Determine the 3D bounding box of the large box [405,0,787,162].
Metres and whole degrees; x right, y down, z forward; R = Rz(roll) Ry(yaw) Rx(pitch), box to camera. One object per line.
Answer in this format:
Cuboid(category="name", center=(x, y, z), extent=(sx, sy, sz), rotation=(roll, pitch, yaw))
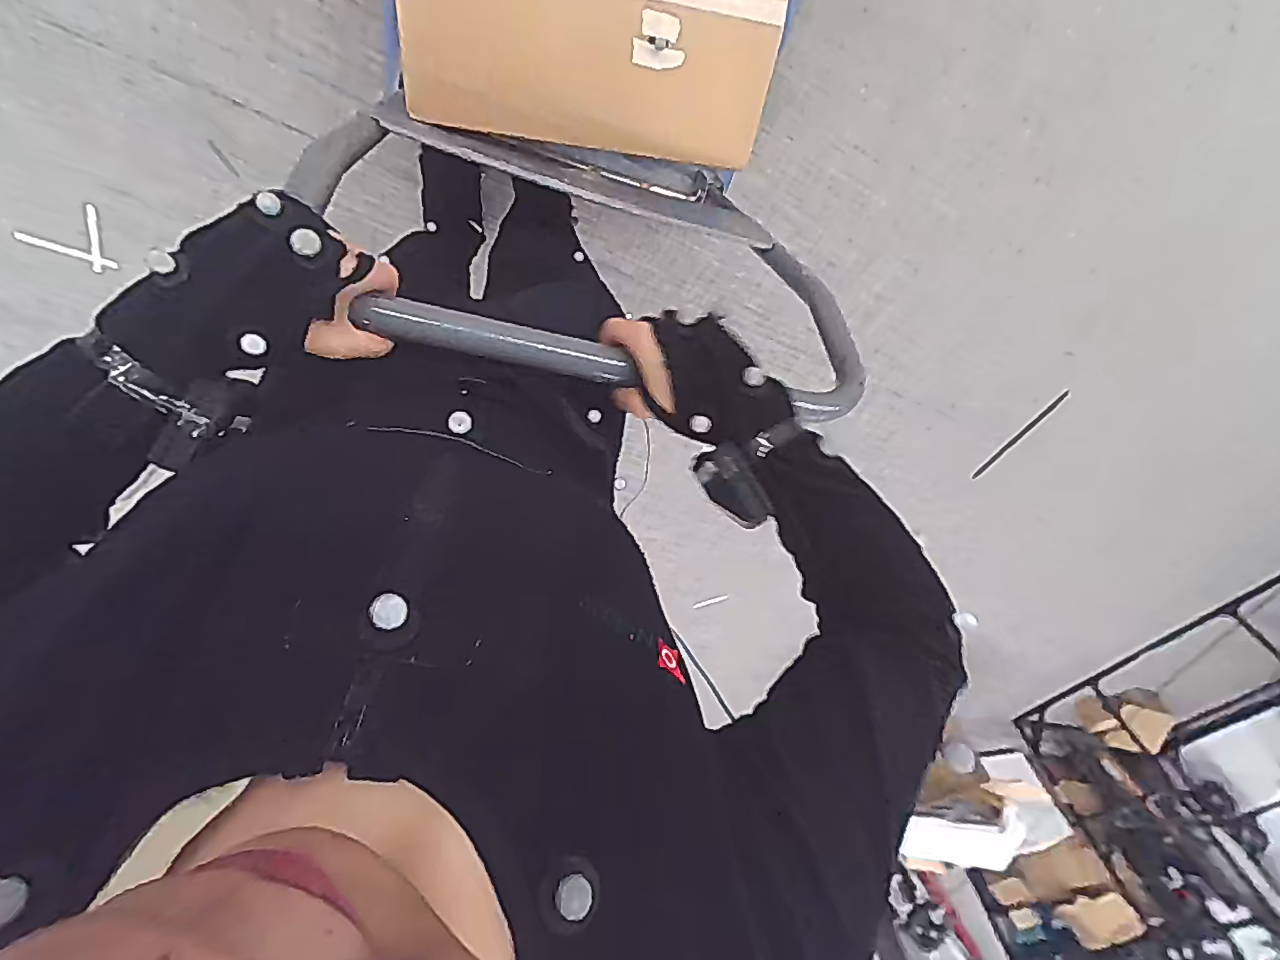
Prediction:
Cuboid(category="large box", center=(-0.060, -0.617, 0.655), extent=(0.408, 0.320, 0.320), rotation=(0, 133, -14))
